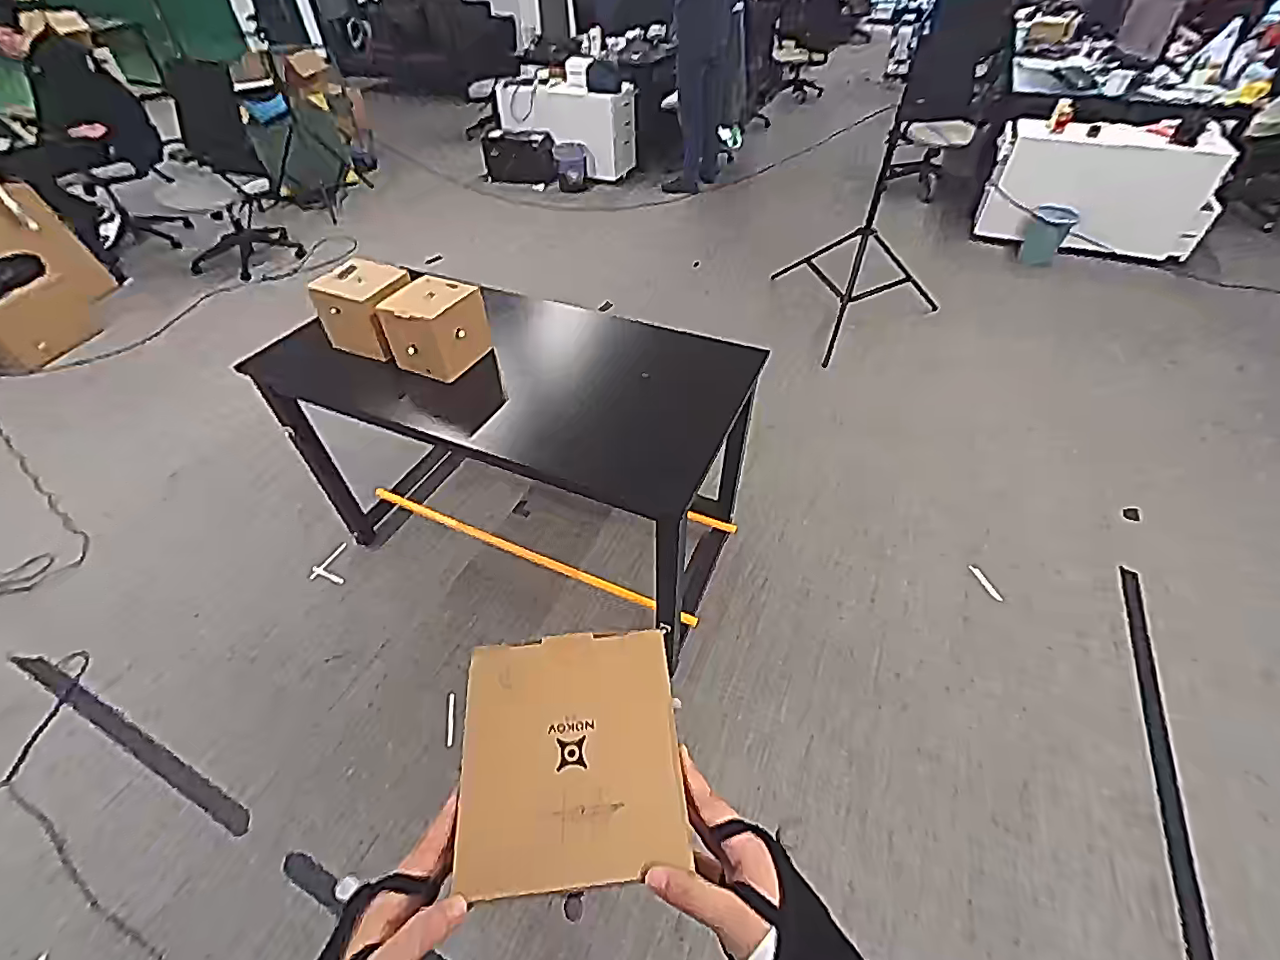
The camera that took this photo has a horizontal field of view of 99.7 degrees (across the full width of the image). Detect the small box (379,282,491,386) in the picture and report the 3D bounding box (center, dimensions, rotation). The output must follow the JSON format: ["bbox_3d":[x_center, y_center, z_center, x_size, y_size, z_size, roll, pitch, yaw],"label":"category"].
[{"bbox_3d":[-0.487,-0.355,1.319,0.168,0.176,0.179,18,49,18],"label":"small box"}]

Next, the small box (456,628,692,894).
[{"bbox_3d":[-0.054,0.253,0.484,0.168,0.176,0.179,-5,53,-4],"label":"small box"}]

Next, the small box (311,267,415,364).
[{"bbox_3d":[-0.682,-0.419,1.382,0.179,0.176,0.168,17,49,15],"label":"small box"}]
